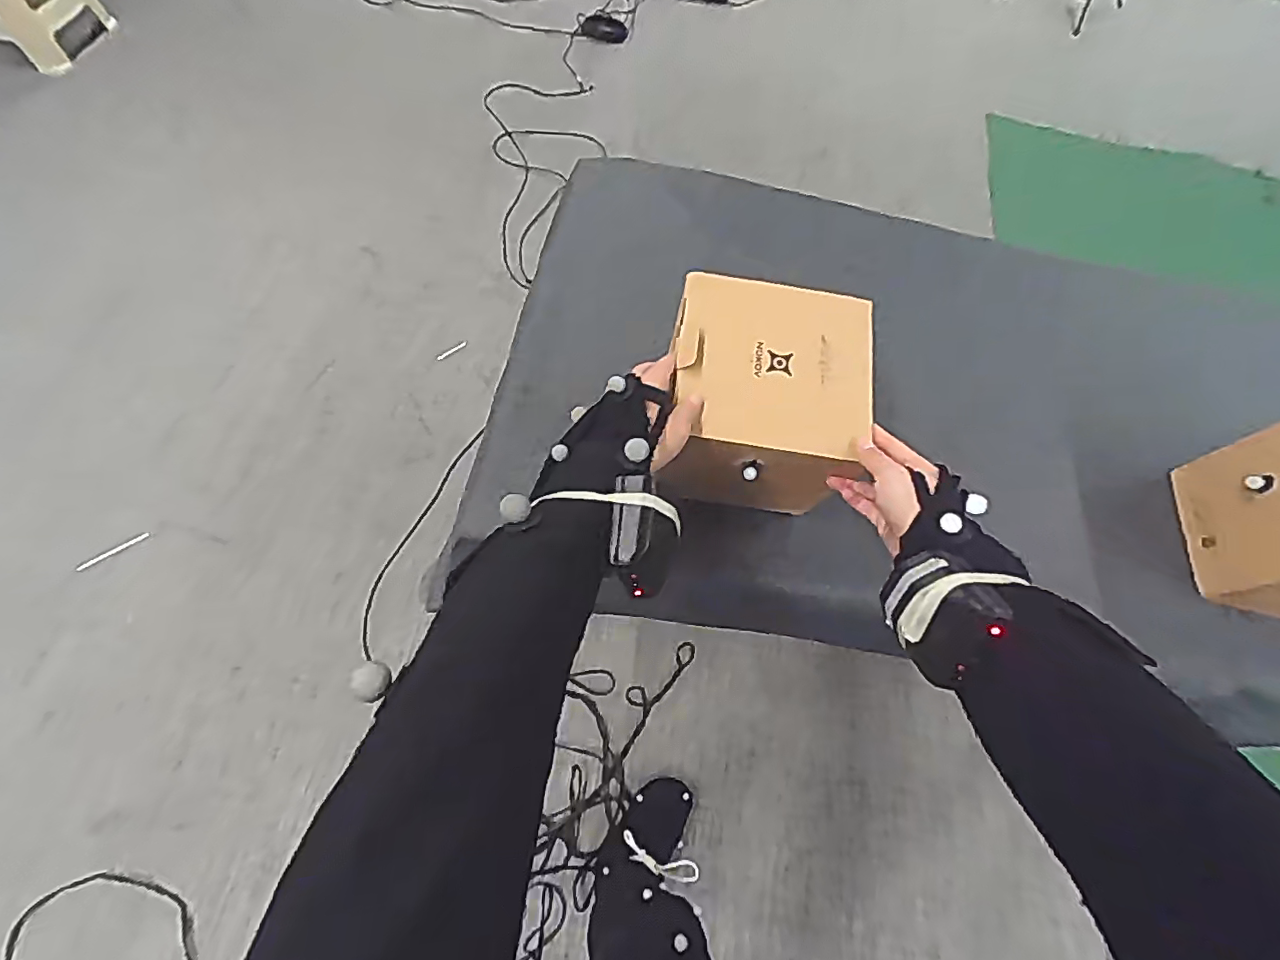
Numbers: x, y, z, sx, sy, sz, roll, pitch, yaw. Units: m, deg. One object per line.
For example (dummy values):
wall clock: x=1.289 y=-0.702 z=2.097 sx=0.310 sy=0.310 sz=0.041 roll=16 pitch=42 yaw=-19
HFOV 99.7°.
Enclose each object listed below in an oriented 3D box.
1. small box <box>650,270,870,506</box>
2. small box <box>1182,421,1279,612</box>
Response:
small box: x=0.109 y=-0.079 z=0.546 sx=0.179 sy=0.176 sz=0.168 roll=8 pitch=72 yaw=-2
small box: x=0.729 y=0.043 z=0.565 sx=0.179 sy=0.176 sz=0.168 roll=13 pitch=65 yaw=0
